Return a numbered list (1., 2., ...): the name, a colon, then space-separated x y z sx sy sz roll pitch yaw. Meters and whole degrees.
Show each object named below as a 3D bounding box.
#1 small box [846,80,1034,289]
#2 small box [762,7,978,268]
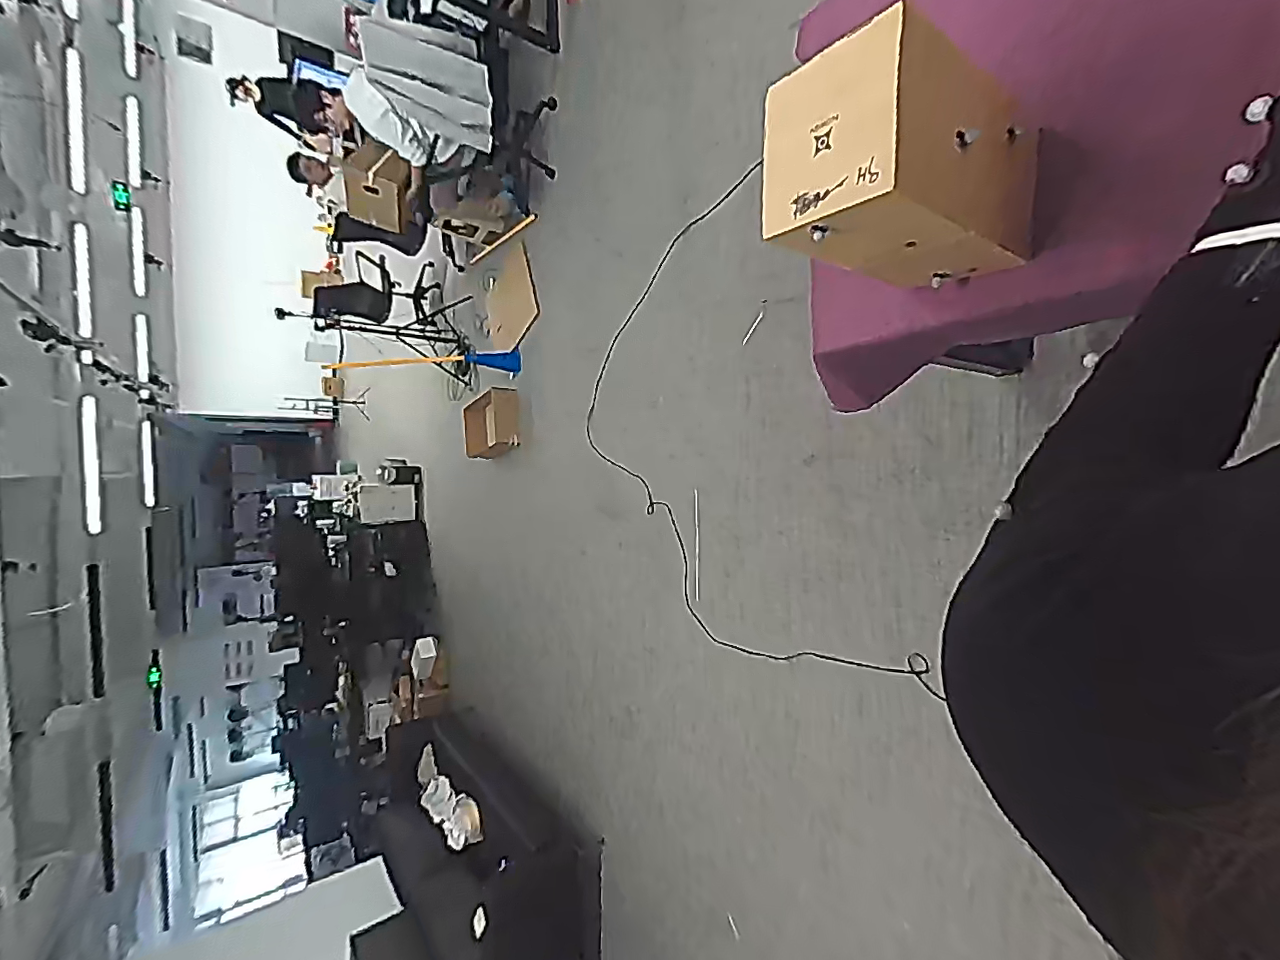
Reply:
1. small box: 0.399 -0.373 0.722 0.168 0.176 0.179 7 98 54
2. small box: 0.265 -0.370 0.626 0.168 0.176 0.179 7 96 55
